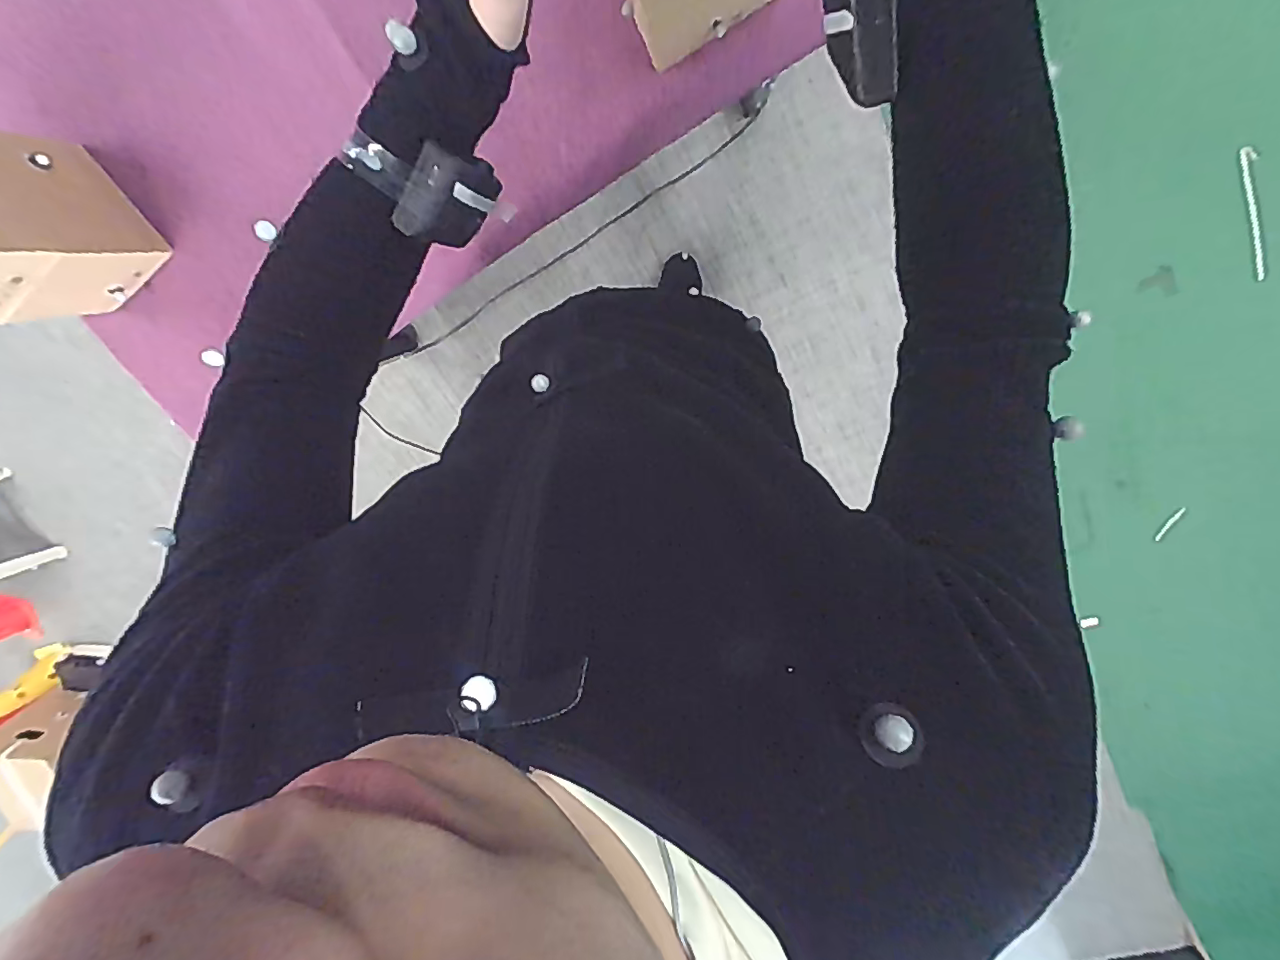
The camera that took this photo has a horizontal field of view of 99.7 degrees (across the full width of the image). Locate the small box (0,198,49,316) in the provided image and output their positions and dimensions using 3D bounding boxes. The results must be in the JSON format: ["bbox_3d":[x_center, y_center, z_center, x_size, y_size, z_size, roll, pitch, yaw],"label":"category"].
[{"bbox_3d":[-0.856,-0.283,0.604,0.168,0.176,0.179,-30,108,18],"label":"small box"}]

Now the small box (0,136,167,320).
[{"bbox_3d":[-0.840,-0.347,0.754,0.168,0.176,0.179,-29,108,17],"label":"small box"}]
